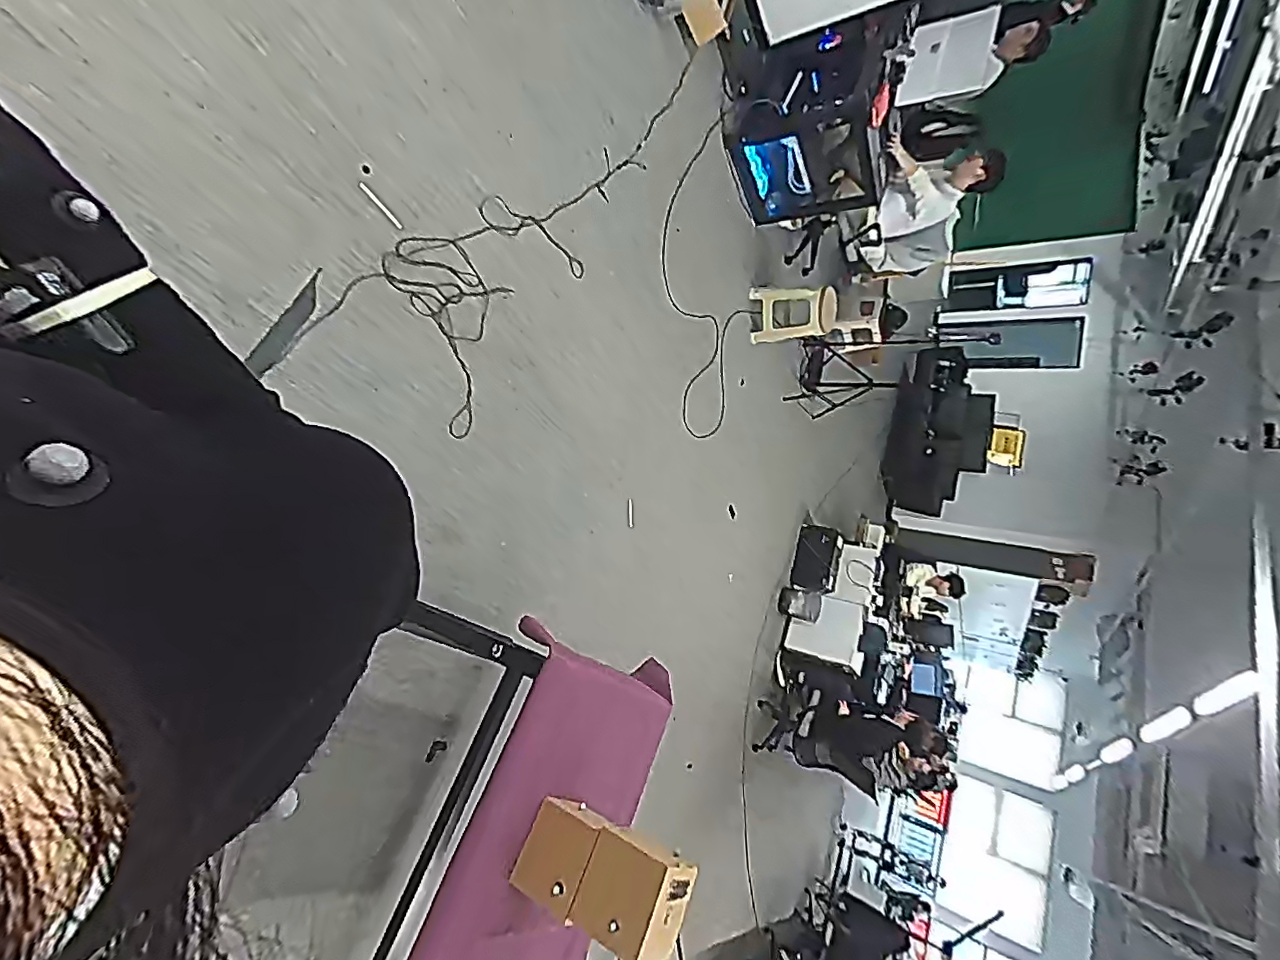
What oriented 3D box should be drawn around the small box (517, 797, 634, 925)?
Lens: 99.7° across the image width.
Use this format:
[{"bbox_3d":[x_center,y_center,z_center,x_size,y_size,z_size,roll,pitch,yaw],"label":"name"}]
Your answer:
[{"bbox_3d":[-0.146,0.847,1.210,0.168,0.176,0.179,52,55,-47],"label":"small box"}]
